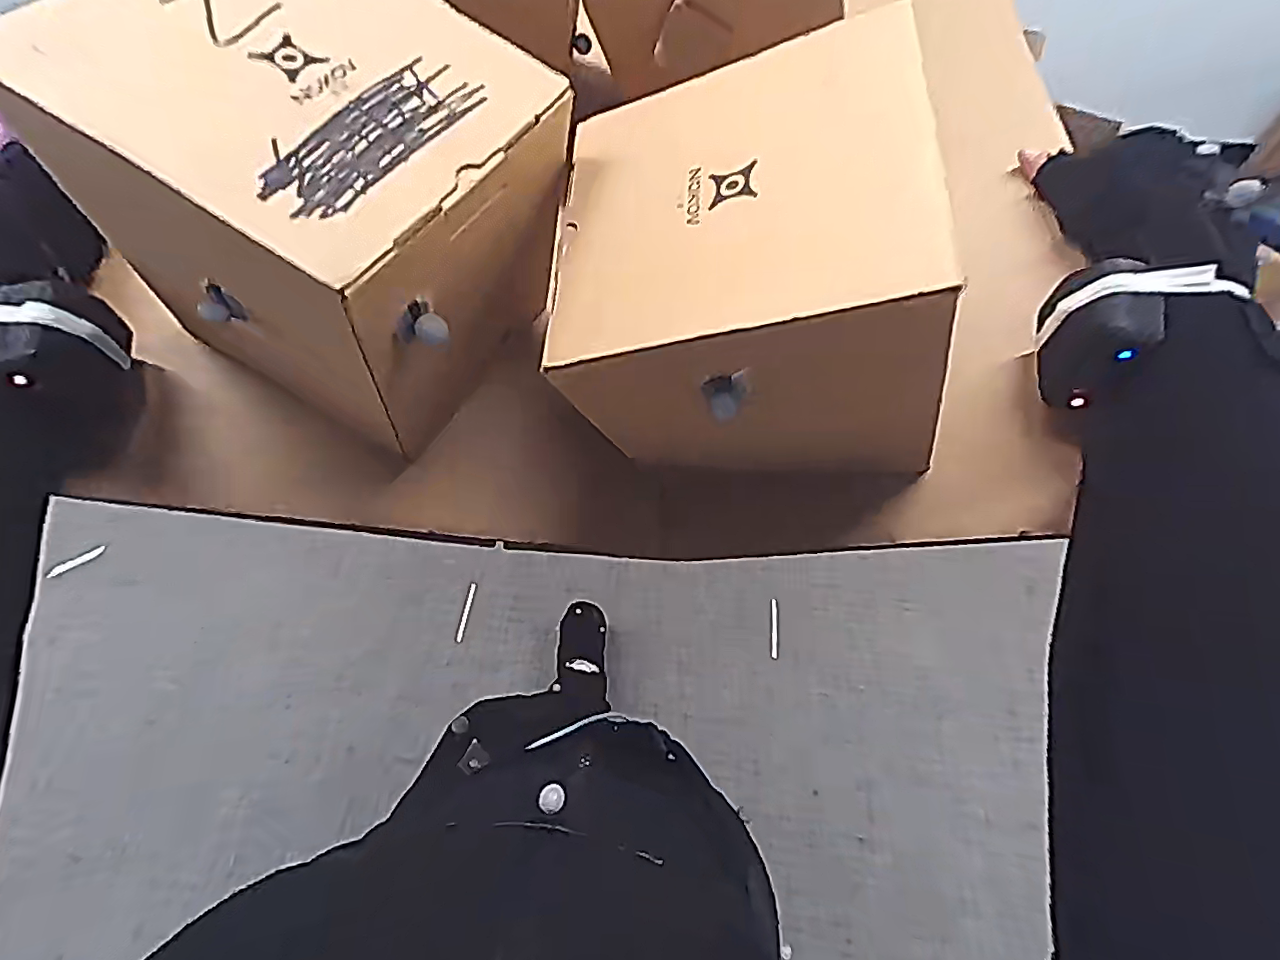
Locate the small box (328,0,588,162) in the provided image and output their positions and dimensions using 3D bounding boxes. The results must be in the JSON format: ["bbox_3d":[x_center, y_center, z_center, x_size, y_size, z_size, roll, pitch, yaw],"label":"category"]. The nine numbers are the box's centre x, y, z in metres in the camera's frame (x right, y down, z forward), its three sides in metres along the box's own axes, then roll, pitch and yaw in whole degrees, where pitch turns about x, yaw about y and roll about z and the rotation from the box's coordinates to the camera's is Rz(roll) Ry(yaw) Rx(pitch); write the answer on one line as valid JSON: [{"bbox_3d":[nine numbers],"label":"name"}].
[{"bbox_3d":[-0.134,-0.391,0.425,0.179,0.176,0.168,10,67,-11],"label":"small box"}]
